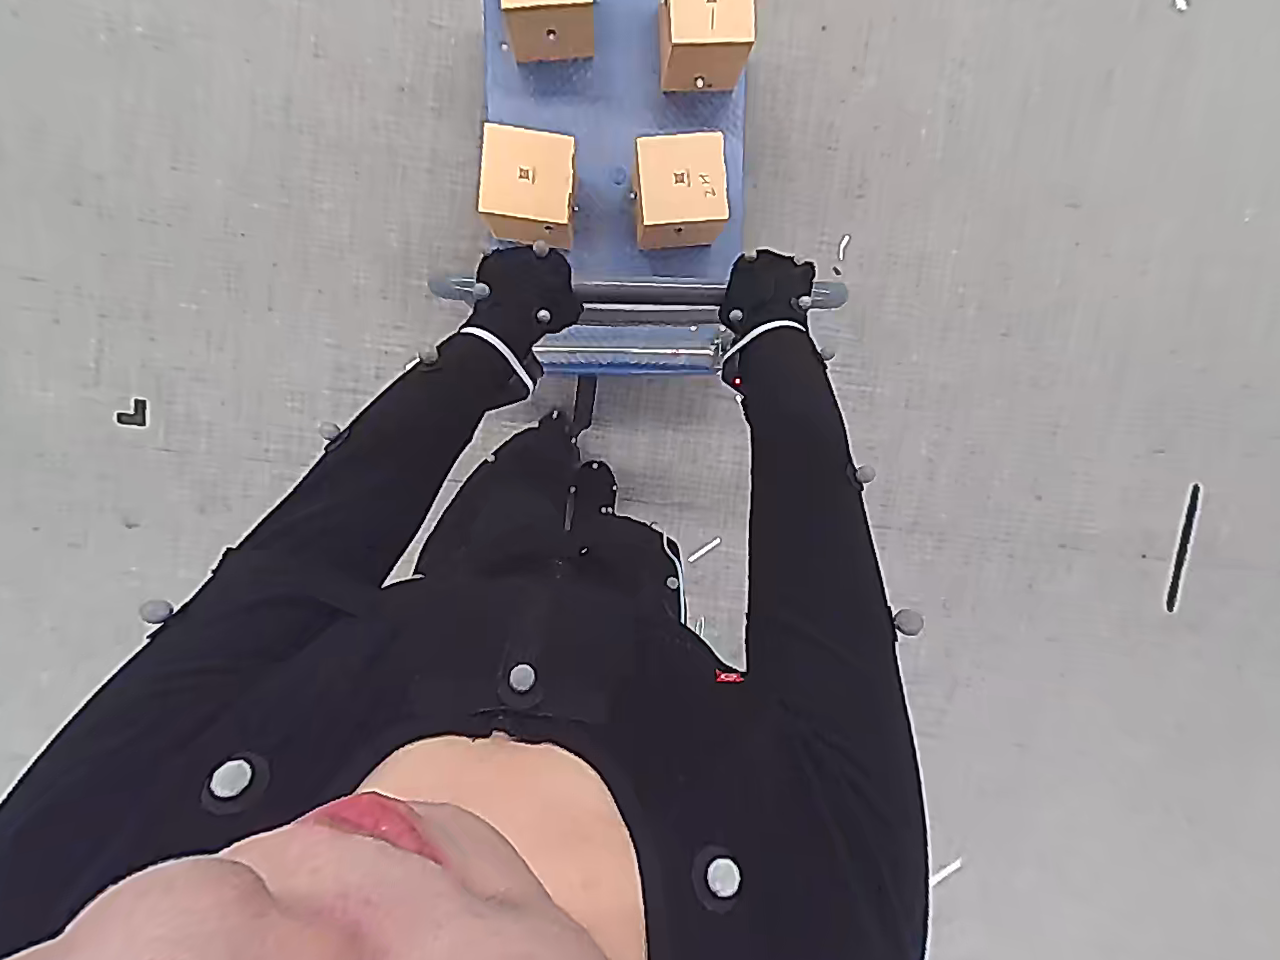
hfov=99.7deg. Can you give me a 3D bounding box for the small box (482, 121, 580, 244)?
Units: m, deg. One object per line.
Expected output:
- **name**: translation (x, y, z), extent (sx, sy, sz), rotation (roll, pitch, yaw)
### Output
- **small box**: translation (-0.221, -0.610, 1.132), extent (0.179, 0.176, 0.168), rotation (5, 97, -7)

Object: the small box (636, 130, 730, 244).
- **small box**: translation (0.084, -0.615, 1.153), extent (0.179, 0.176, 0.168), rotation (-6, 98, -3)

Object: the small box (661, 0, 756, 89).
- **small box**: translation (0.135, -0.947, 1.112), extent (0.168, 0.176, 0.179), rotation (-4, 99, -3)
